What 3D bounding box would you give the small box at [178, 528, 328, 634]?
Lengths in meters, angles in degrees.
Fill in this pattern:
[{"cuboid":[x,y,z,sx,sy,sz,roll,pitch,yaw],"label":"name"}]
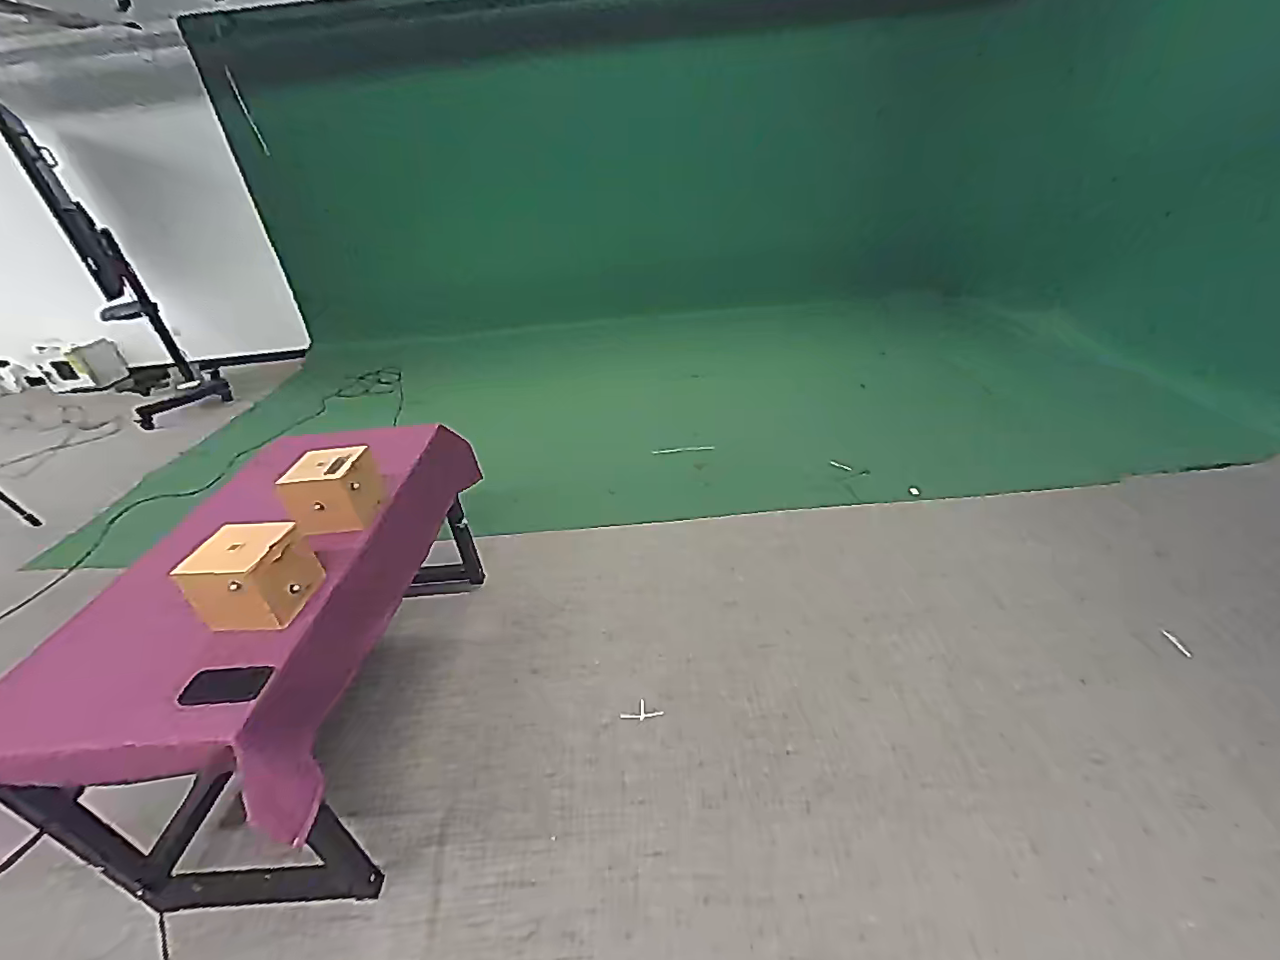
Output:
[{"cuboid":[-0.840,0.223,1.194,0.179,0.176,0.168,-3,32,6],"label":"small box"}]
